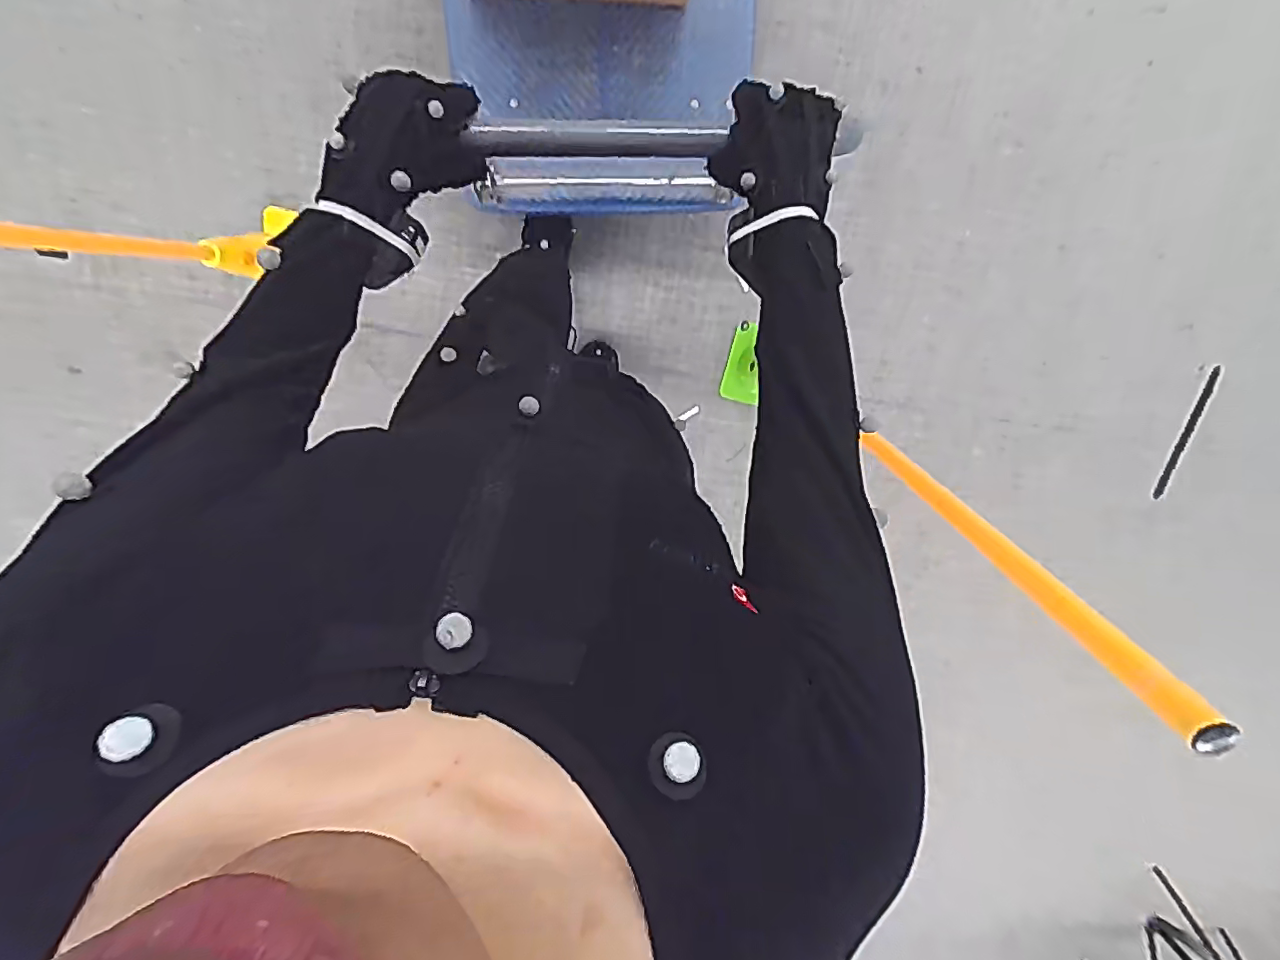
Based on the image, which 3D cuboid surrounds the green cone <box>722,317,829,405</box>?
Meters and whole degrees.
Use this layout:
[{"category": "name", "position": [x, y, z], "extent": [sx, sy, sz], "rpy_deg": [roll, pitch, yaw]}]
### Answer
[{"category": "green cone", "position": [0.341, -0.248, 1.248], "extent": [0.202, 0.368, 0.200], "rpy_deg": [11, 109, -9]}]
